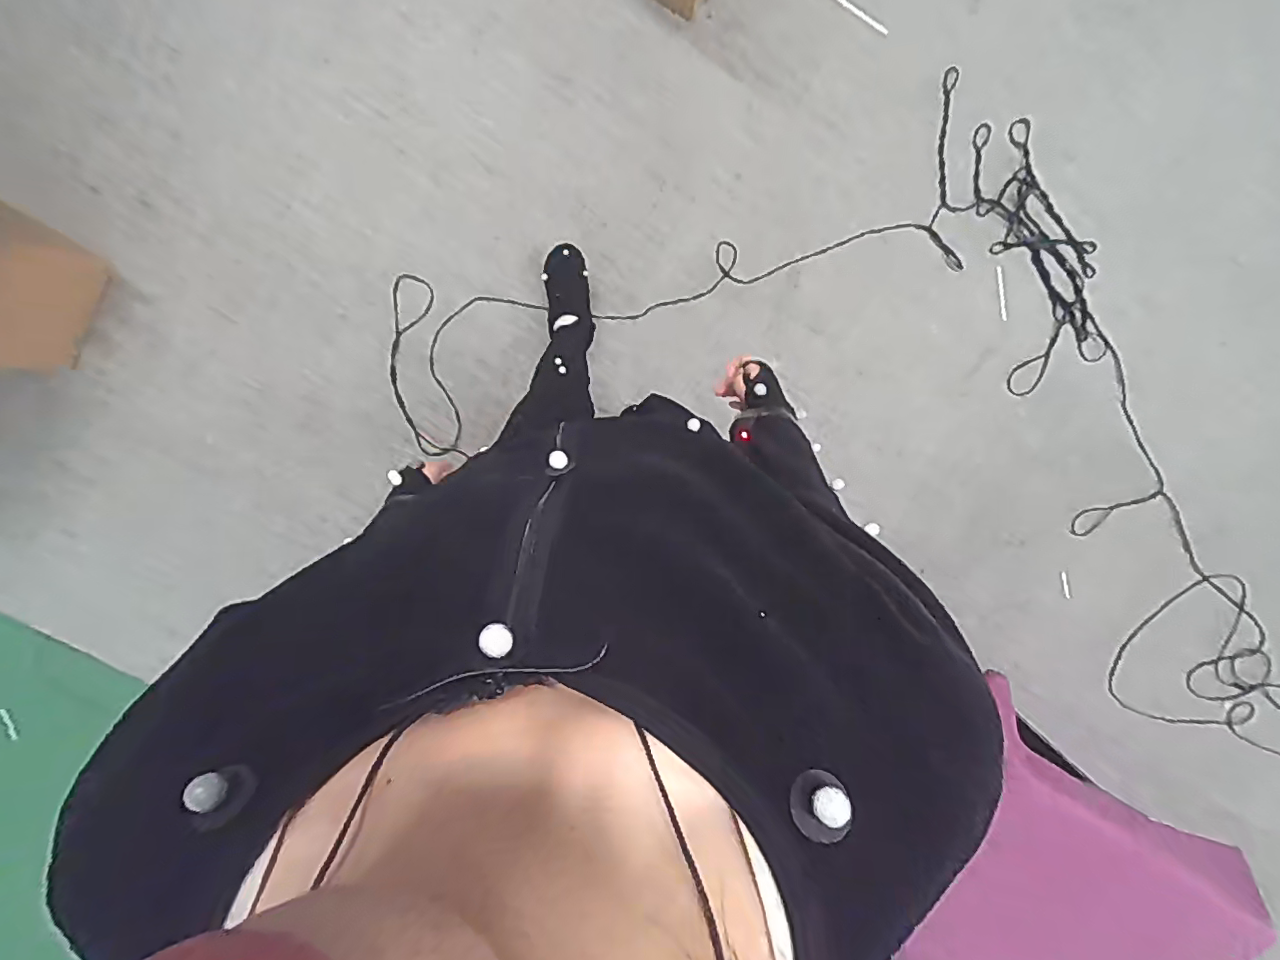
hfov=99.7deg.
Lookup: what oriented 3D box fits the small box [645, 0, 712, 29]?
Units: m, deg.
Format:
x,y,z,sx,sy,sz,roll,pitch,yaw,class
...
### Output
x,y,z,sx,sy,sz,roll,pitch,yaw,class
0.095,-1.157,1.188,0.179,0.176,0.168,30,100,-7,small box
